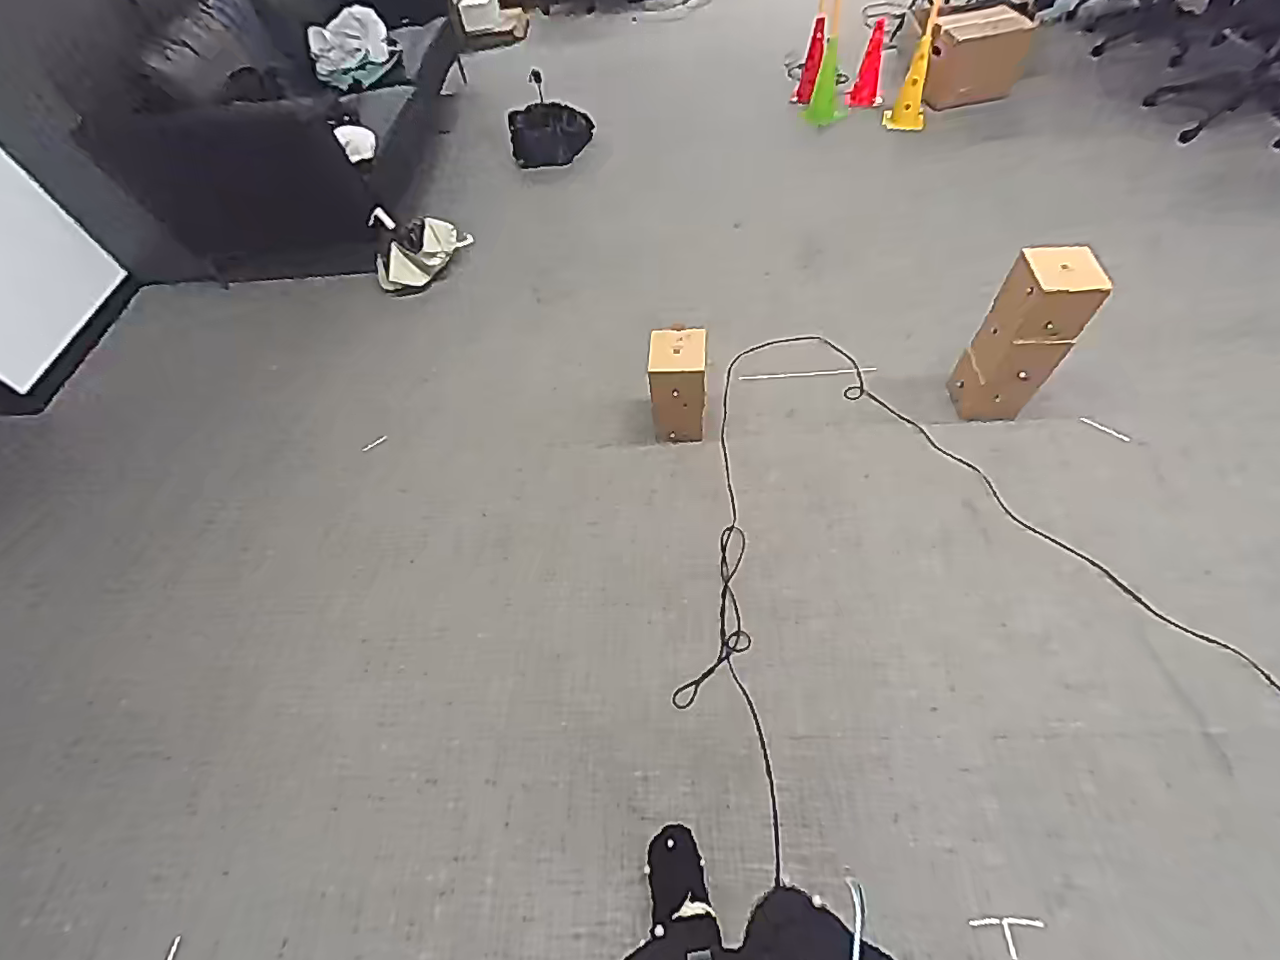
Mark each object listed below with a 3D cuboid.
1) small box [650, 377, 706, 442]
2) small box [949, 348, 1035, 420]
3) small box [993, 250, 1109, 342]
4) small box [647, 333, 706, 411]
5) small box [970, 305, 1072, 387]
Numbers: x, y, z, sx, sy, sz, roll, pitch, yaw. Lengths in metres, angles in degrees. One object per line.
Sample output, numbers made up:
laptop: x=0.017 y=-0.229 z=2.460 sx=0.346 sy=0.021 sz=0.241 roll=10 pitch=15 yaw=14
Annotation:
small box: x=0.128 y=-0.247 z=1.784 sx=0.168 sy=0.176 sz=0.179 roll=2 pitch=57 yaw=9
small box: x=1.112 y=-0.304 z=1.722 sx=0.179 sy=0.176 sz=0.168 roll=-1 pitch=57 yaw=6
small box: x=1.090 y=-0.492 z=1.455 sx=0.168 sy=0.176 sz=0.179 roll=0 pitch=57 yaw=6
small box: x=0.116 y=-0.325 z=1.659 sx=0.168 sy=0.176 sz=0.179 roll=0 pitch=56 yaw=8
small box: x=1.104 y=-0.395 z=1.585 sx=0.168 sy=0.176 sz=0.179 roll=0 pitch=57 yaw=6
